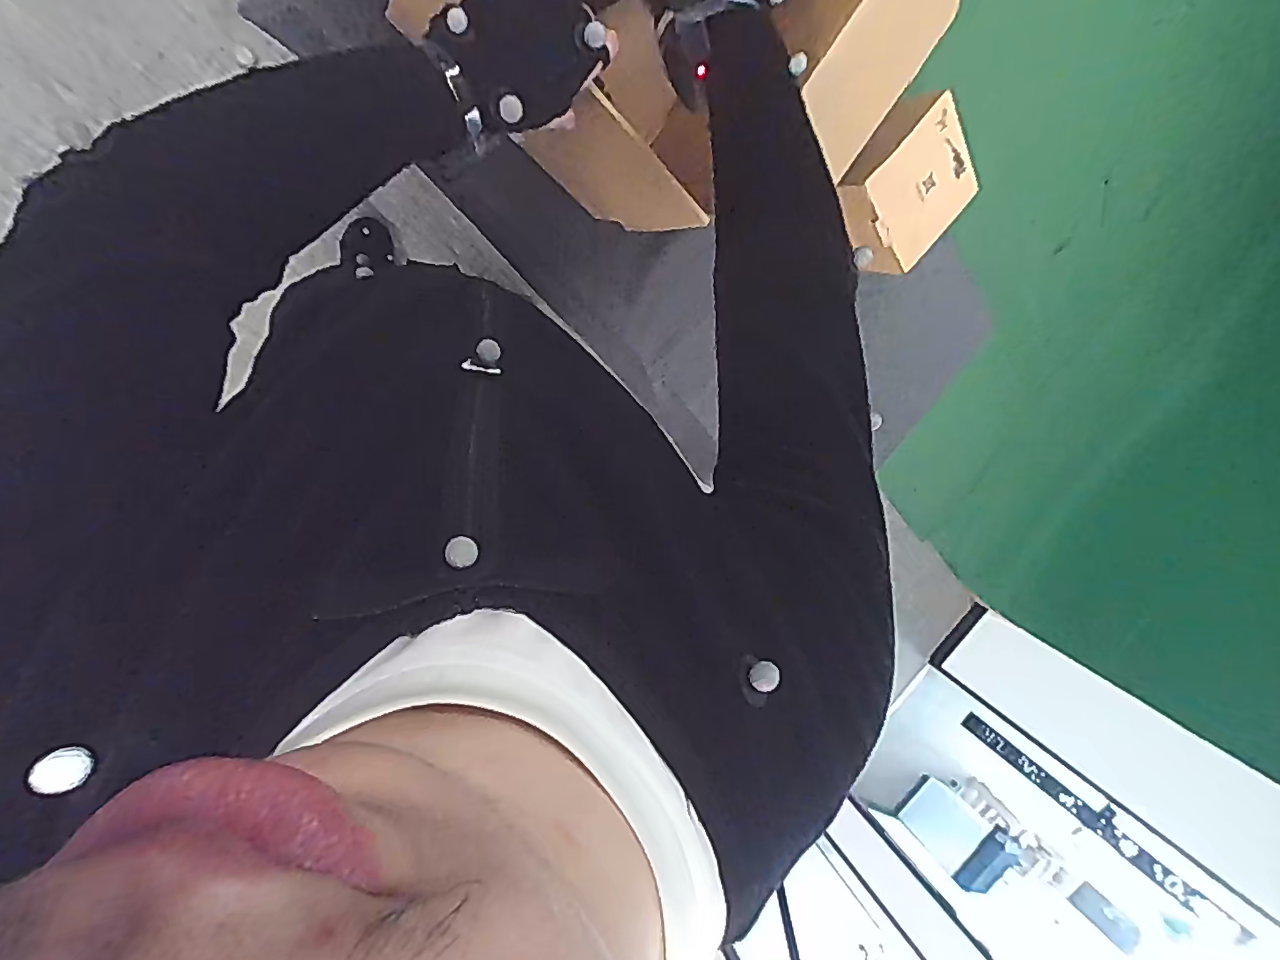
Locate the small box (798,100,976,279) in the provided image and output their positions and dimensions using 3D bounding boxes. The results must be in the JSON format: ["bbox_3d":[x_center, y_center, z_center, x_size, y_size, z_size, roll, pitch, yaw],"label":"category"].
[{"bbox_3d":[0.376,-0.446,0.849,0.179,0.176,0.168,-46,126,1],"label":"small box"}]
